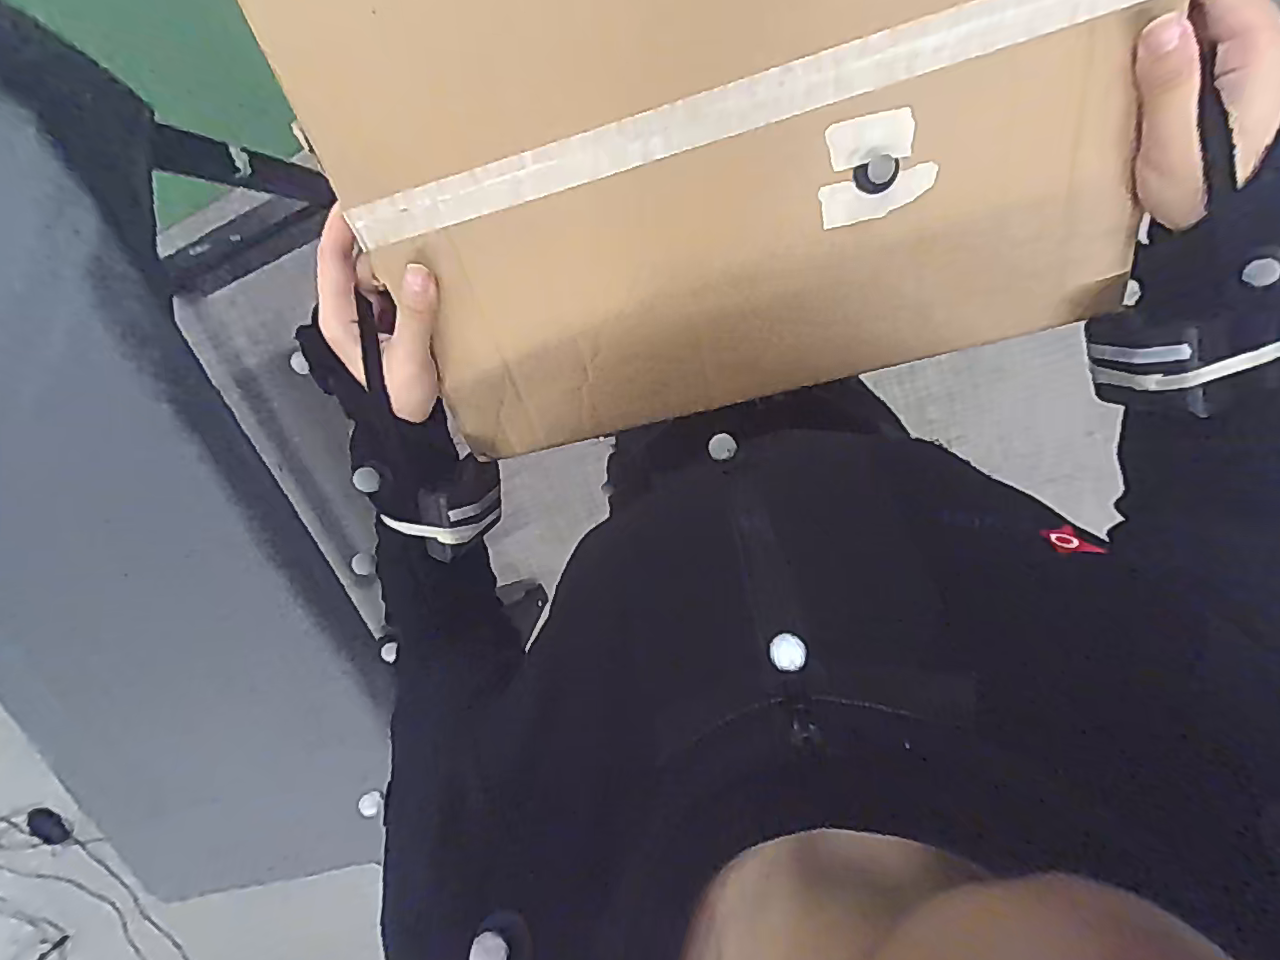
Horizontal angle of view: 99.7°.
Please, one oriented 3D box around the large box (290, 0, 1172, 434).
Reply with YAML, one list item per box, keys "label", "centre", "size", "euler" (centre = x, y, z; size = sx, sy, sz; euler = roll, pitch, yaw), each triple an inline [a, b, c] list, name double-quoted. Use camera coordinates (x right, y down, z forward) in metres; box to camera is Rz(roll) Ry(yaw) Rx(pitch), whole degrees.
- label: "large box"
  centre: [0.048, -0.279, 0.394]
  size: [0.408, 0.320, 0.320]
  euler: [-13, 123, 7]
